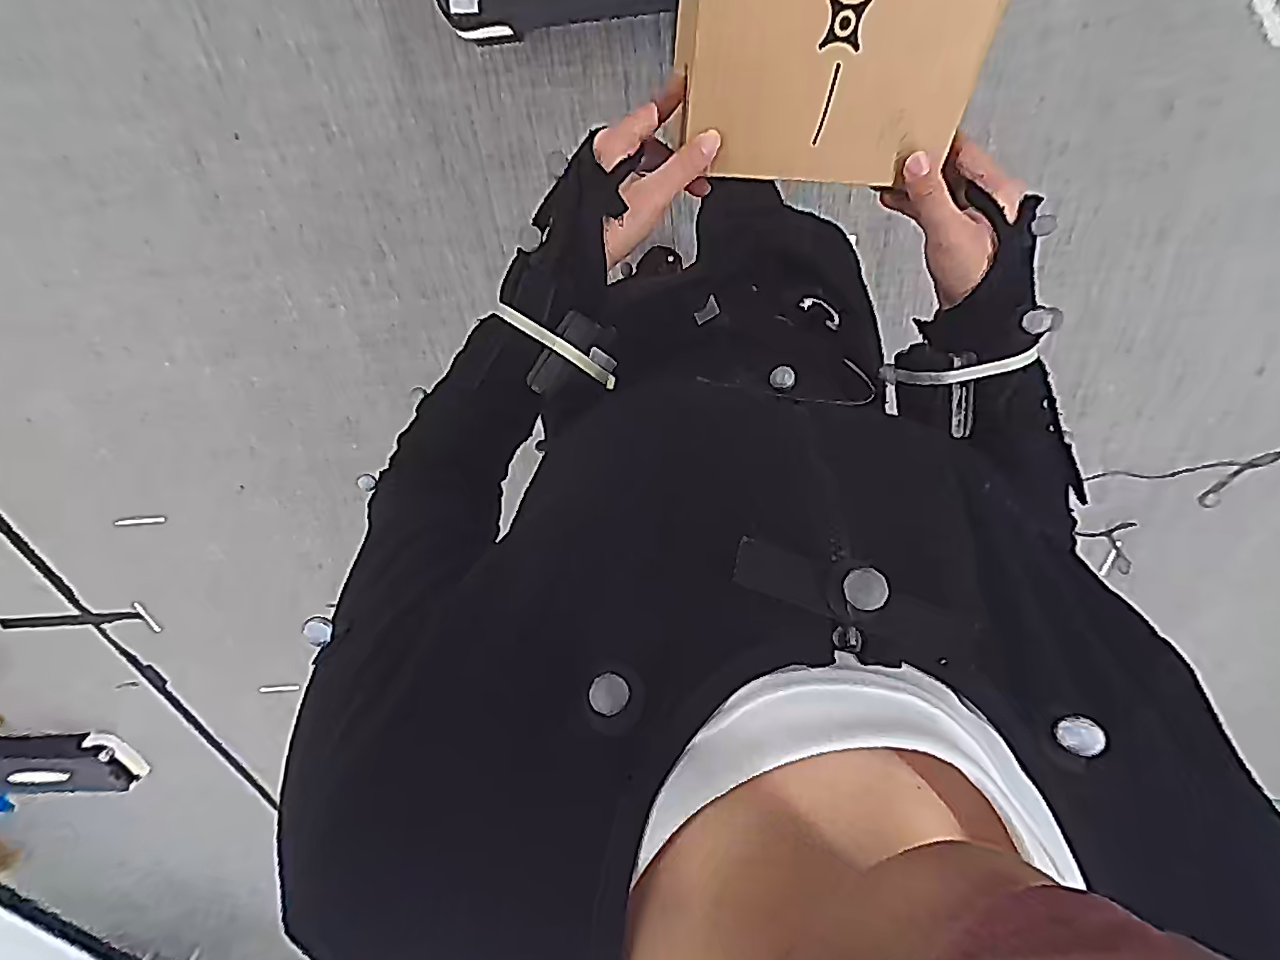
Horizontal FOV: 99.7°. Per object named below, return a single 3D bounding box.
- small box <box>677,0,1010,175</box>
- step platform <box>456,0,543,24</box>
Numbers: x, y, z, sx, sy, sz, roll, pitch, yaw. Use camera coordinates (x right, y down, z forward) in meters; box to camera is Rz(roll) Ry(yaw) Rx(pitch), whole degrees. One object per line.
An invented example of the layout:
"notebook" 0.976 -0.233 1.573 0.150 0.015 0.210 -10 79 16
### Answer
"small box" 0.116 -0.316 0.342 0.168 0.176 0.179 2 133 -2
"step platform" 0.015 -0.907 0.799 0.684 0.204 0.286 -4 123 4
